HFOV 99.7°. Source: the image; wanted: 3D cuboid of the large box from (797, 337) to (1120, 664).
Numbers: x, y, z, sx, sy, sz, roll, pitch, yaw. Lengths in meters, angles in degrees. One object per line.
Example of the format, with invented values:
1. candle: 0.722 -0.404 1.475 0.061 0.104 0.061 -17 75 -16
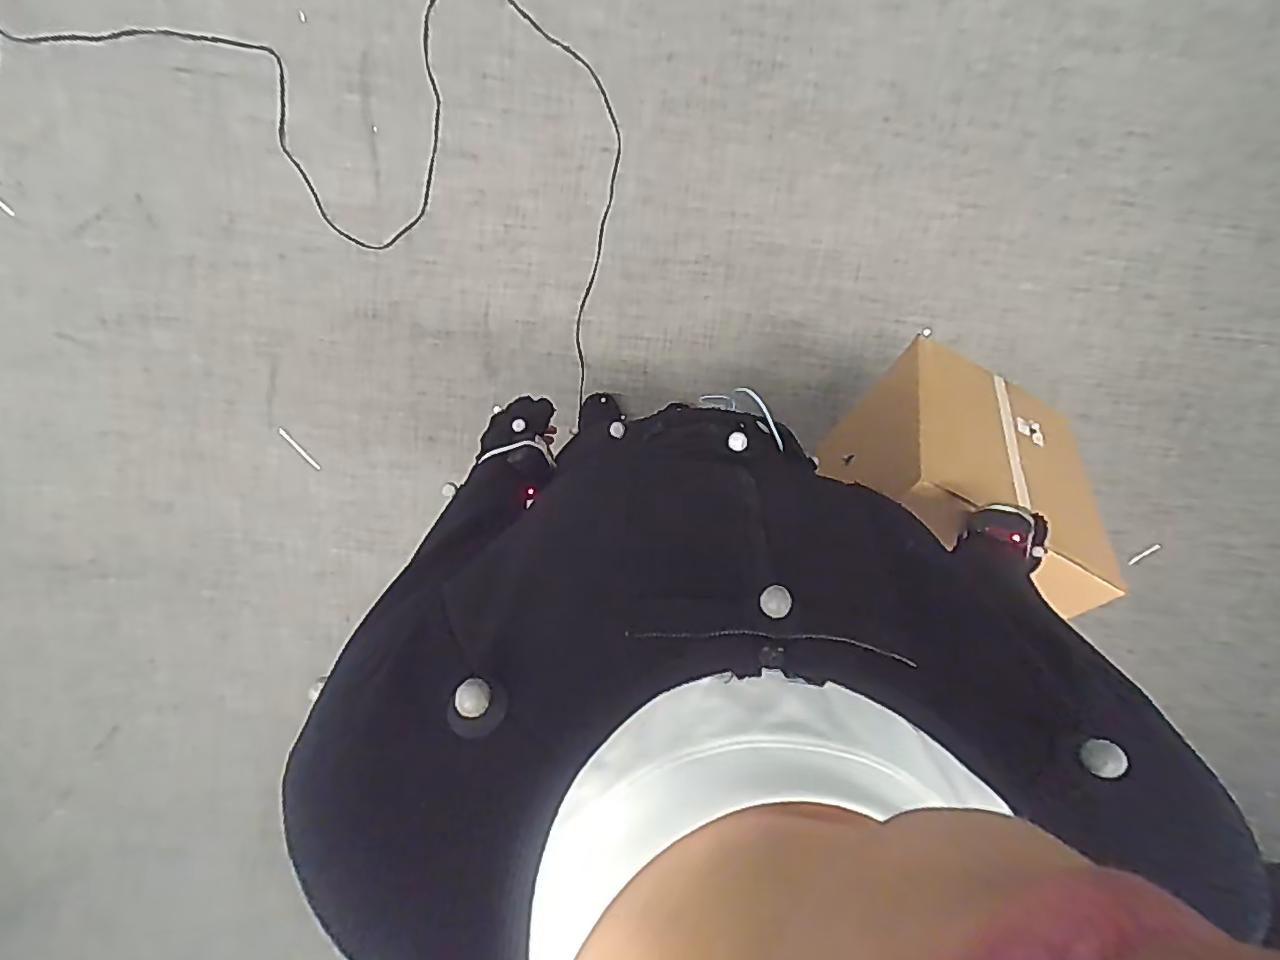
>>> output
1. large box: 0.506 0.032 0.942 0.320 0.408 0.320 29 136 -2
